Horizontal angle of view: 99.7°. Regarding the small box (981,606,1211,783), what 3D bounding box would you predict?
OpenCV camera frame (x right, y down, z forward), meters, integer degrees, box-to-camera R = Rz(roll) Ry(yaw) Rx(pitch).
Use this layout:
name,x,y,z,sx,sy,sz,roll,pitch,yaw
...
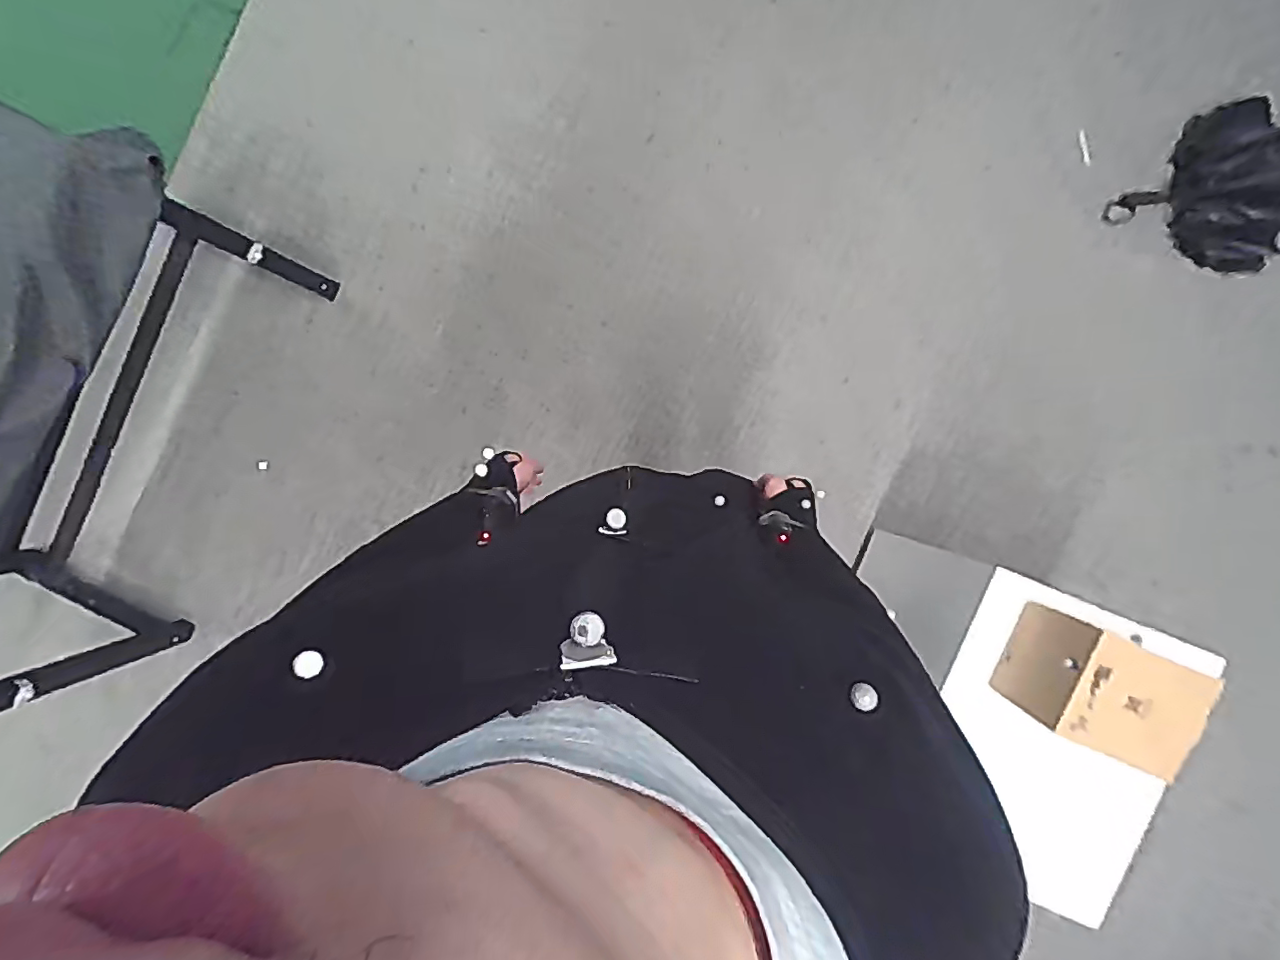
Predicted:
name,x,y,z,sx,sy,sz,roll,pitch,yaw
small box,0.685,0.316,0.836,0.179,0.176,0.168,24,94,2
